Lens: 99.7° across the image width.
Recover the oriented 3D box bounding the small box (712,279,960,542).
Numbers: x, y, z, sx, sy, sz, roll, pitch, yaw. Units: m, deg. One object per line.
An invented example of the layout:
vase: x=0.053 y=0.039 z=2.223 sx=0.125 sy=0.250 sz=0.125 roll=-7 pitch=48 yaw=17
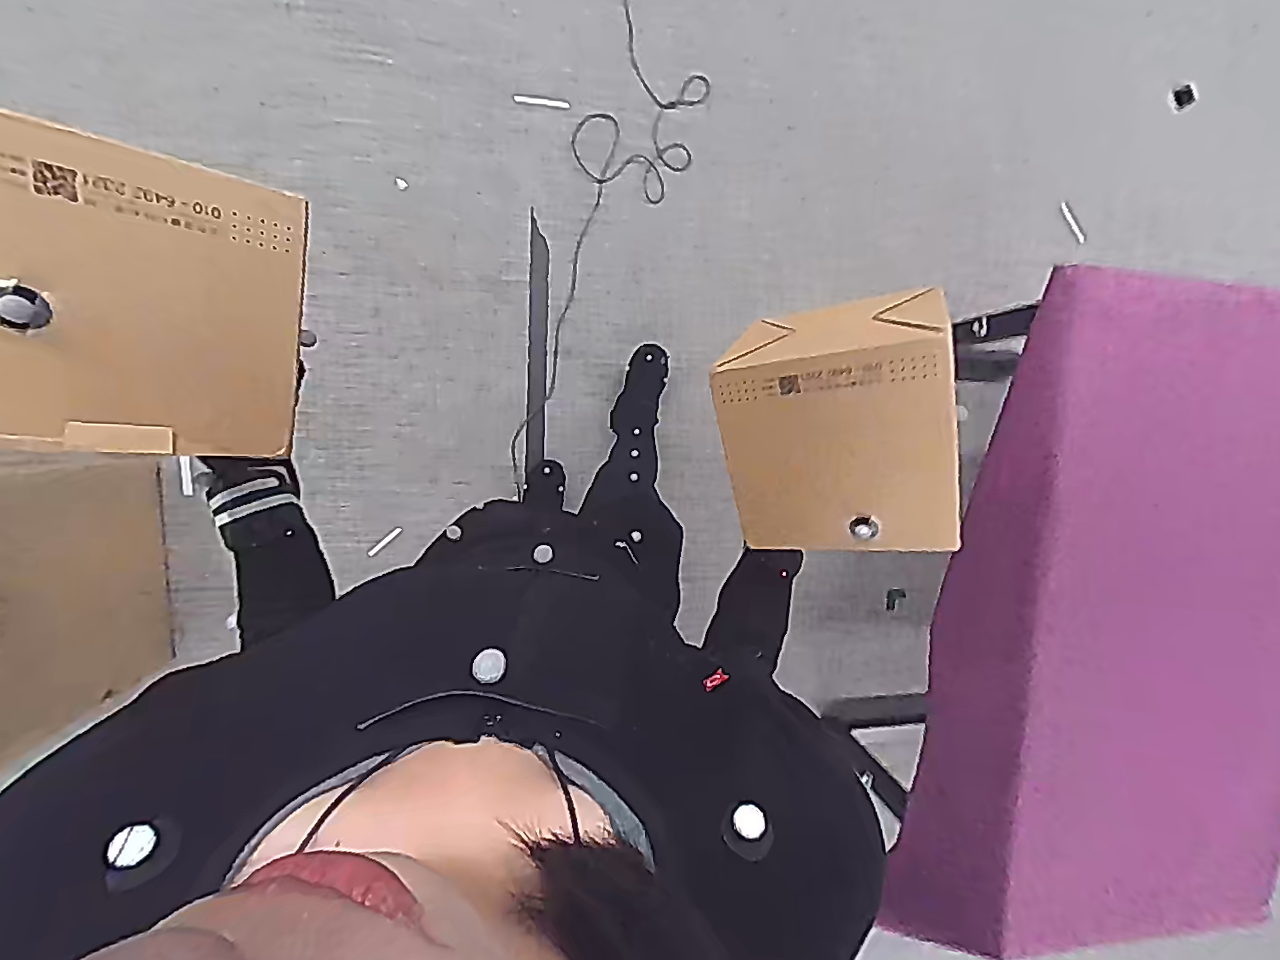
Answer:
small box: x=0.178 y=-0.064 z=0.471 sx=0.168 sy=0.179 sz=0.176 roll=-4 pitch=116 yaw=30

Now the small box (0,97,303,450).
small box: x=-0.328 y=-0.126 z=0.352 sx=0.168 sy=0.179 sz=0.176 roll=1 pitch=110 yaw=-40
